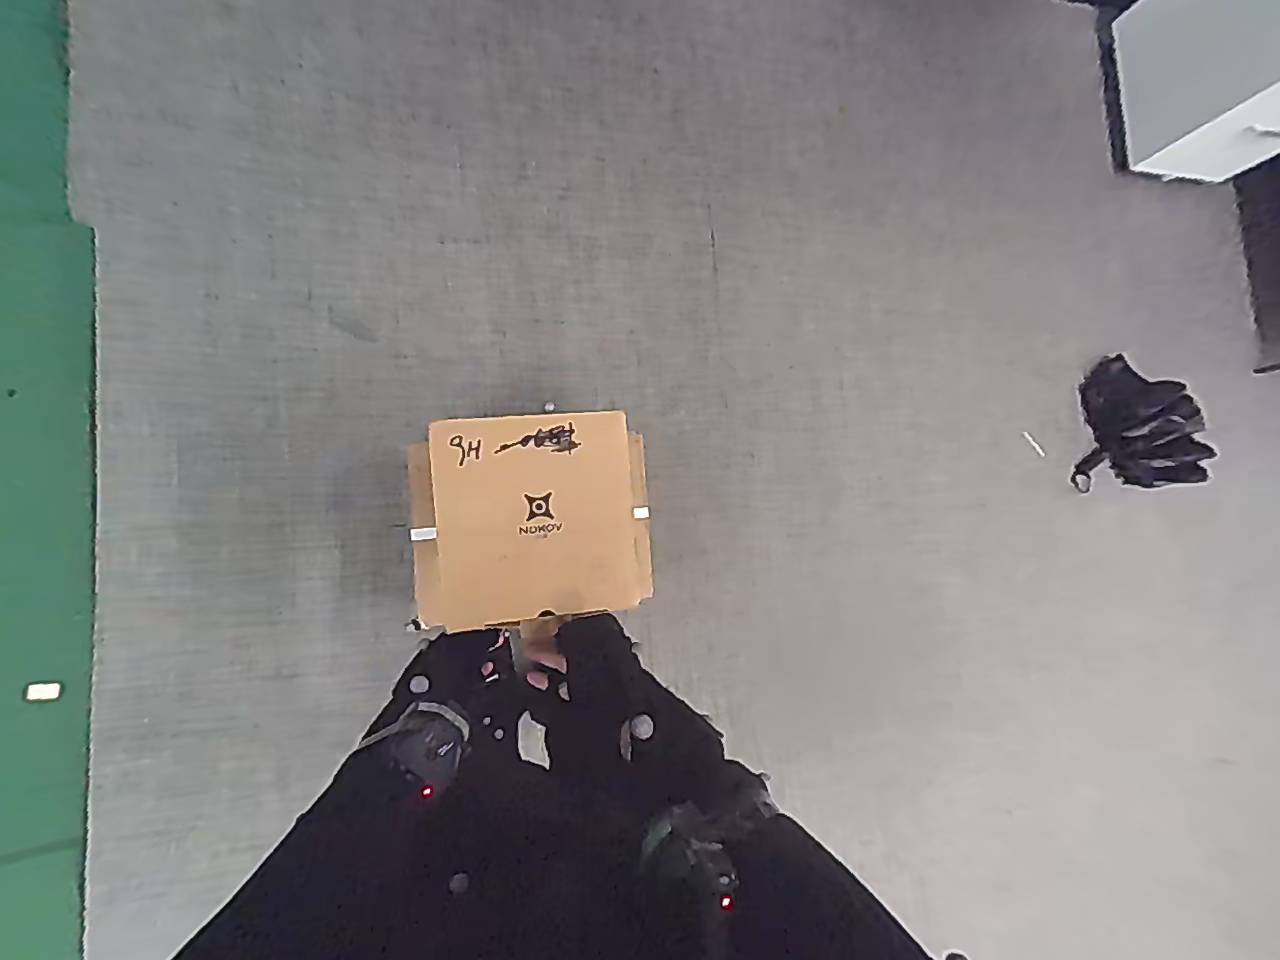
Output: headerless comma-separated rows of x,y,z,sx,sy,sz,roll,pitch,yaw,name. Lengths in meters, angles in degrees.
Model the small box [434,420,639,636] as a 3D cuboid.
-0.102,0.039,0.539,0.168,0.176,0.179,-5,89,-13,small box
